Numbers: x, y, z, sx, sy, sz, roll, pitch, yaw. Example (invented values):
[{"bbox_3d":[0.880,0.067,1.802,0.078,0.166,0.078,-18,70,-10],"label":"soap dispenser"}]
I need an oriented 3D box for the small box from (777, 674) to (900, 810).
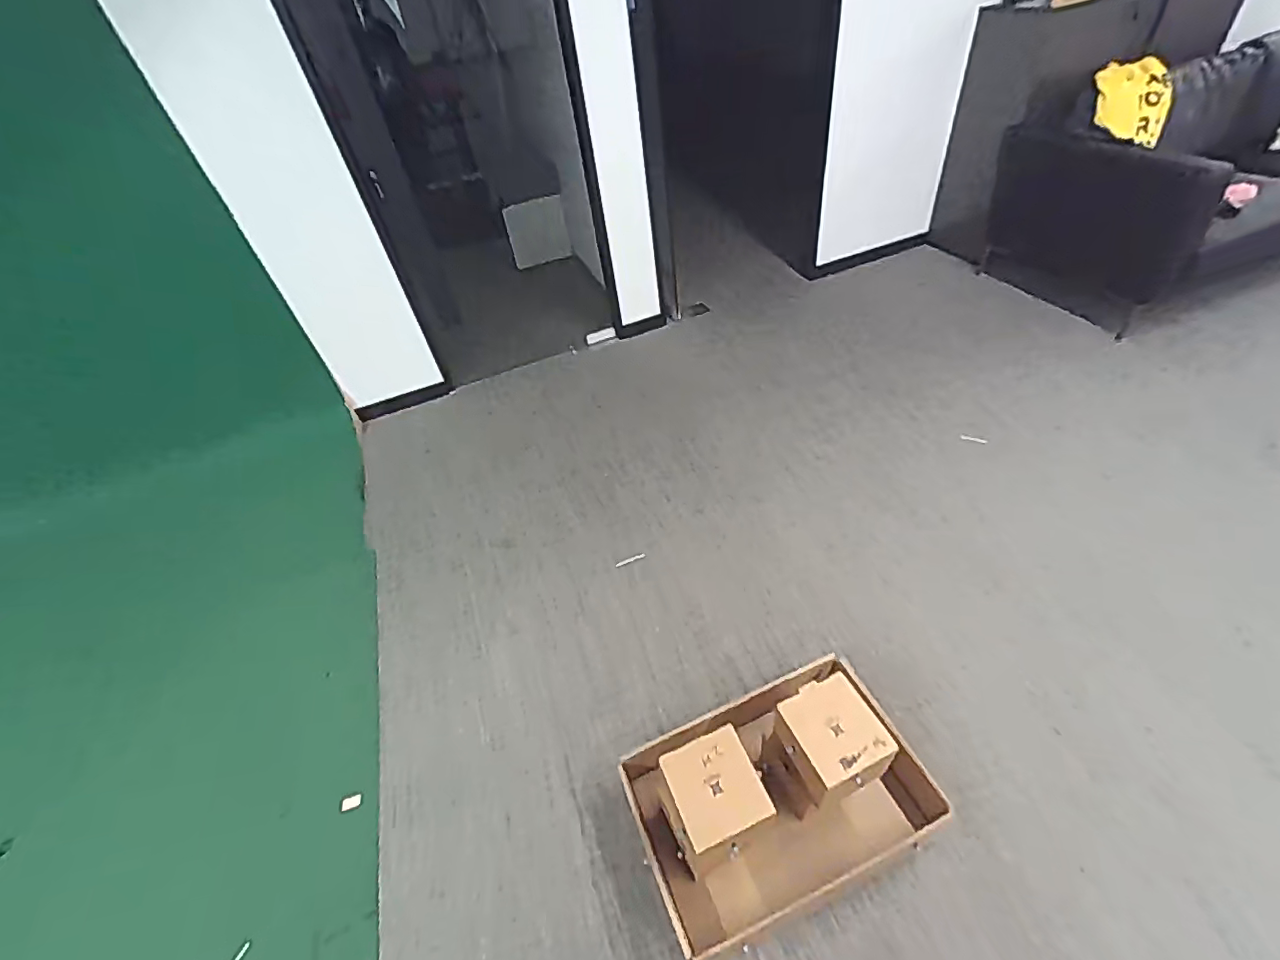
[{"bbox_3d":[0.401,0.548,1.129,0.168,0.176,0.179,-22,45,-11],"label":"small box"}]

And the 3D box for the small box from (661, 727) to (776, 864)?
[{"bbox_3d":[0.154,0.637,1.083,0.168,0.176,0.179,-19,46,-11],"label":"small box"}]

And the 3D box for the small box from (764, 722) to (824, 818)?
[{"bbox_3d":[0.405,0.648,1.258,0.179,0.176,0.168,-23,46,-15],"label":"small box"}]

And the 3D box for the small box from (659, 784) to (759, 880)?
[{"bbox_3d":[0.161,0.749,1.203,0.179,0.176,0.168,-22,47,-14],"label":"small box"}]
